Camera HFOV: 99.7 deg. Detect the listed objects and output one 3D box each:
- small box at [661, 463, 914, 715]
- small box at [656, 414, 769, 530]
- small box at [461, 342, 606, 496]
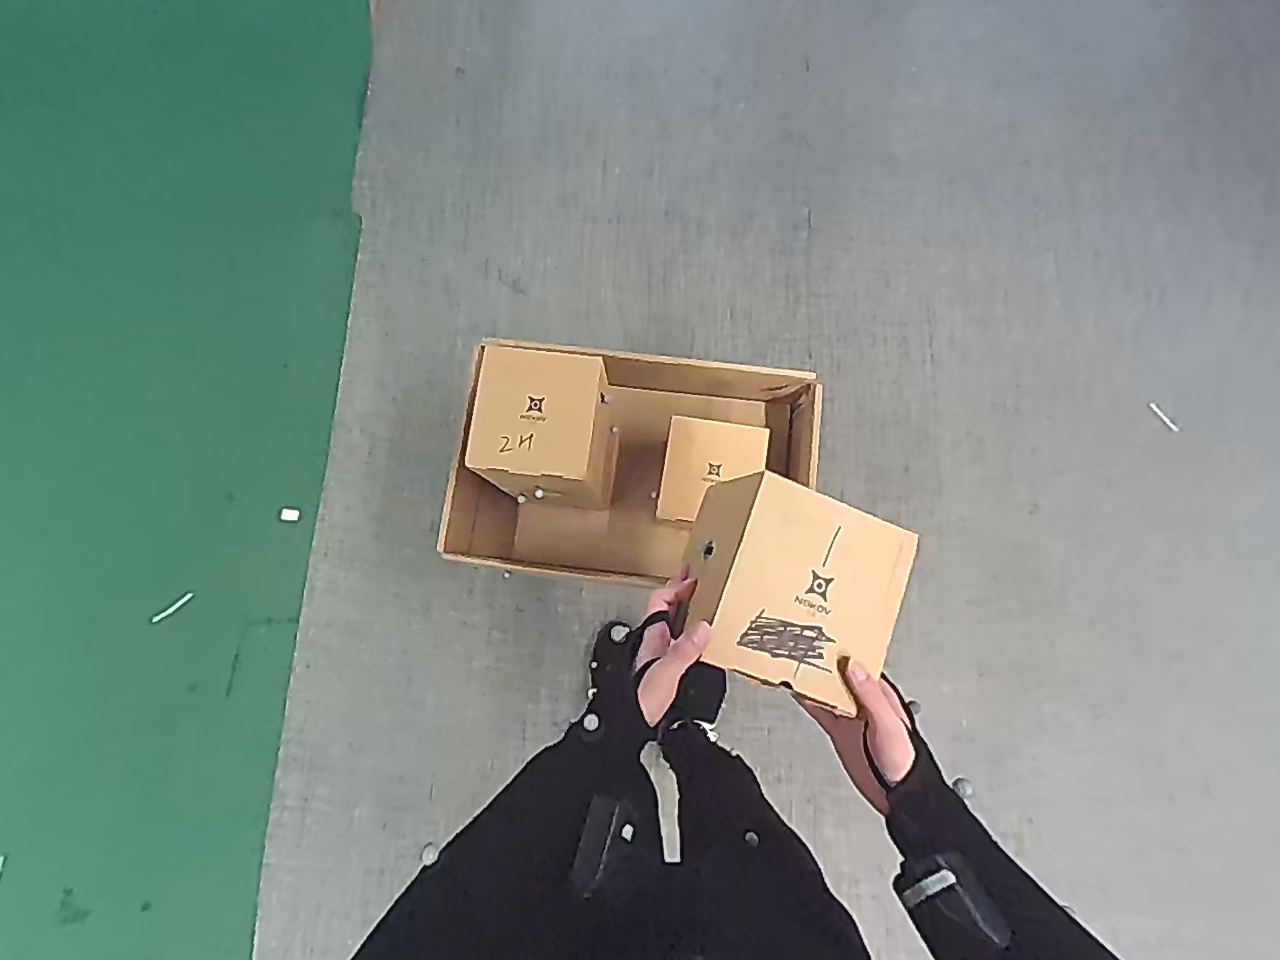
[{"bbox_3d":[0.132,0.102,0.549,0.168,0.176,0.179,23,80,-8],"label":"small box"},{"bbox_3d":[0.119,-0.001,0.952,0.168,0.176,0.179,8,81,2],"label":"small box"},{"bbox_3d":[-0.144,-0.082,0.802,0.168,0.176,0.179,7,80,2],"label":"small box"}]
